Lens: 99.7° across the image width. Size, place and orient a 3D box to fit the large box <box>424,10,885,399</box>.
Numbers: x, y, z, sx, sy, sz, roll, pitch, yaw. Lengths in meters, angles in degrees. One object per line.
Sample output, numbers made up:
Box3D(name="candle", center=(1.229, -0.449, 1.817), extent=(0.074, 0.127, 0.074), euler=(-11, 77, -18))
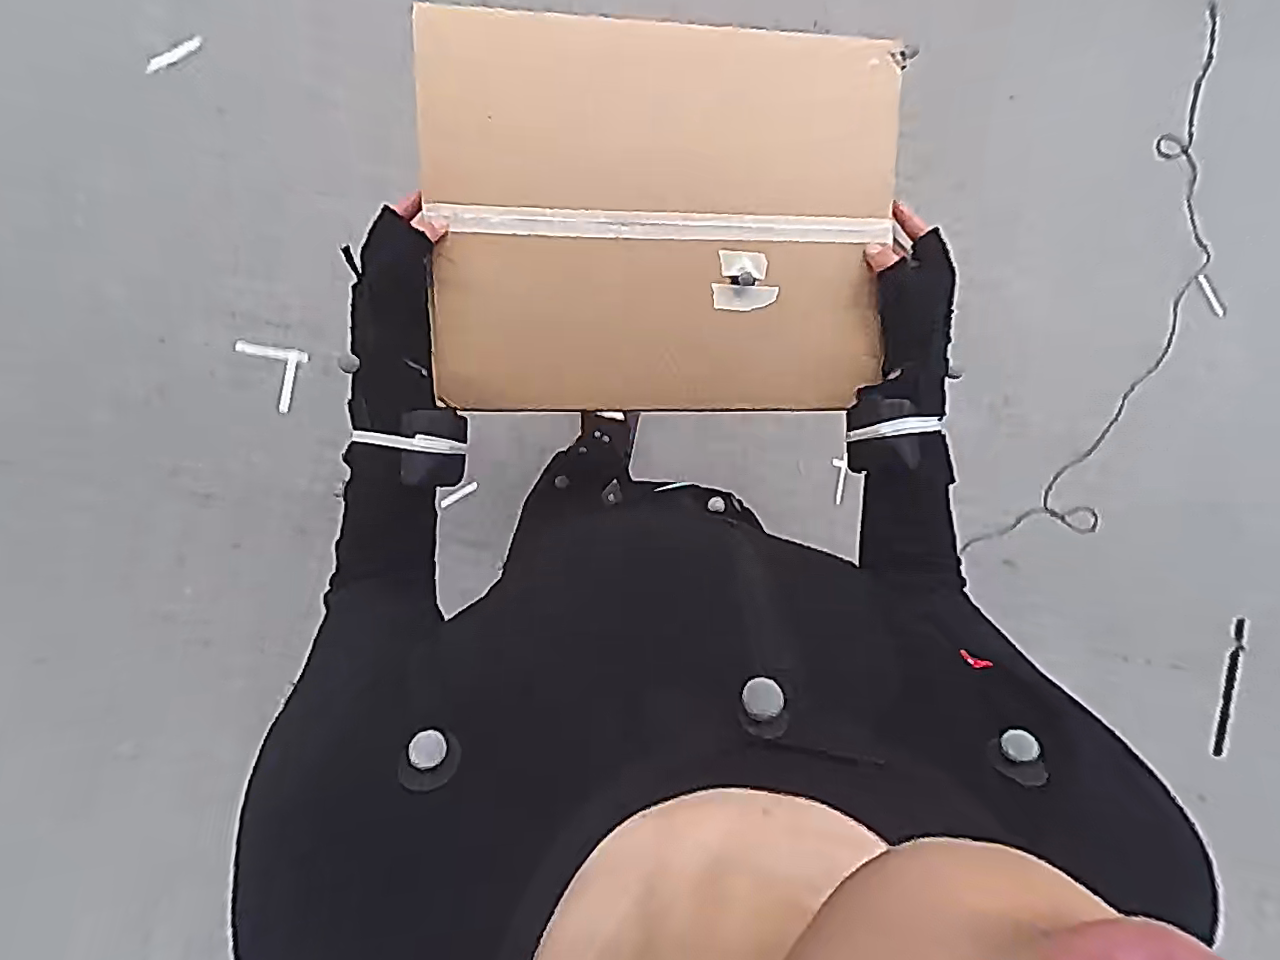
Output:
Box3D(name="large box", center=(0.004, -0.256, 0.626), extent=(0.408, 0.320, 0.320), euler=(-1, 100, -7))
